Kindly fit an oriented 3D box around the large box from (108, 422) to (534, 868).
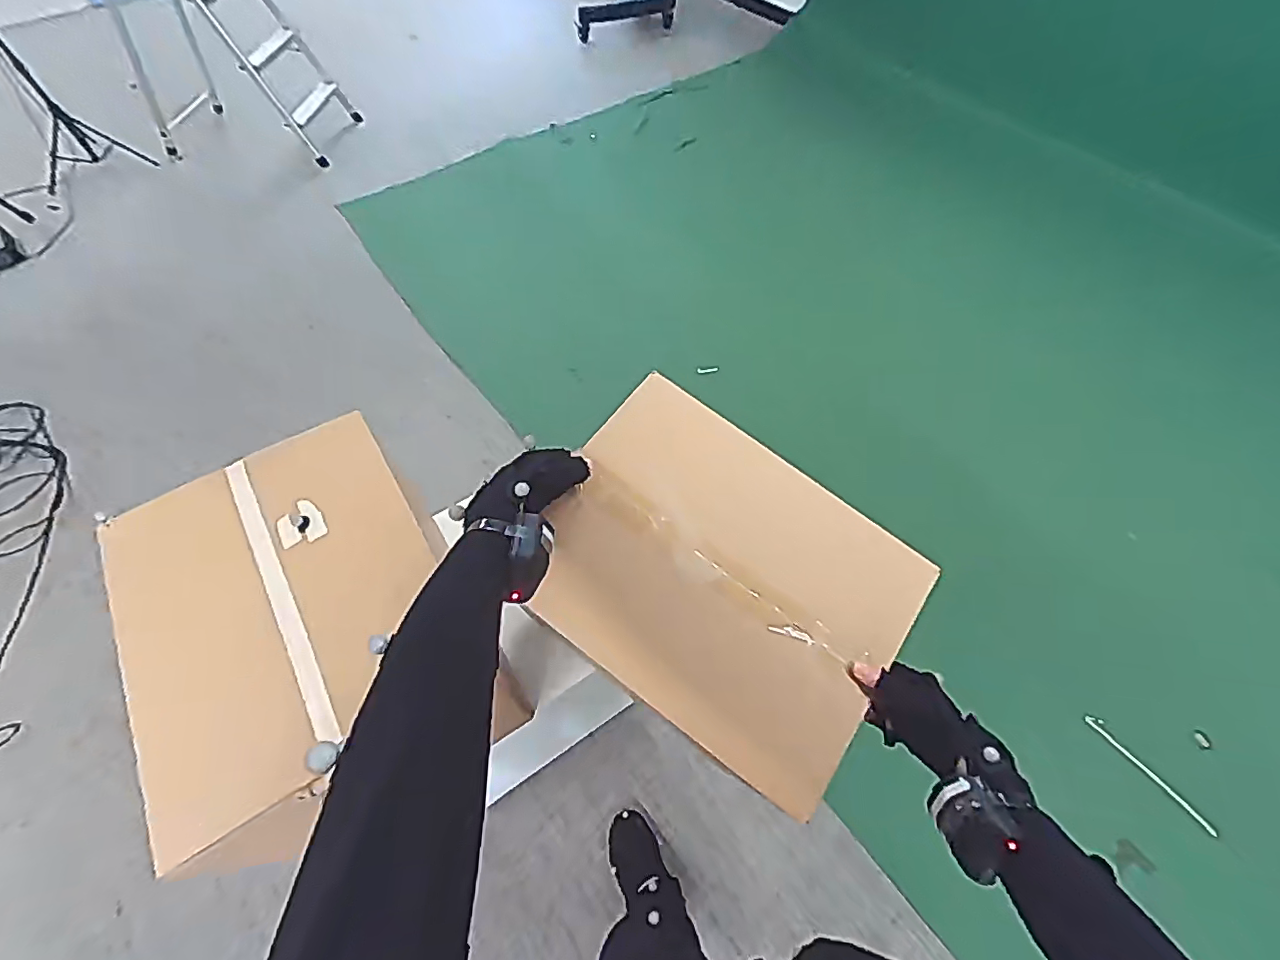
[{"bbox_3d":[-0.390,0.208,0.722,0.320,0.320,0.408,-30,62,-18],"label":"large box"}]
